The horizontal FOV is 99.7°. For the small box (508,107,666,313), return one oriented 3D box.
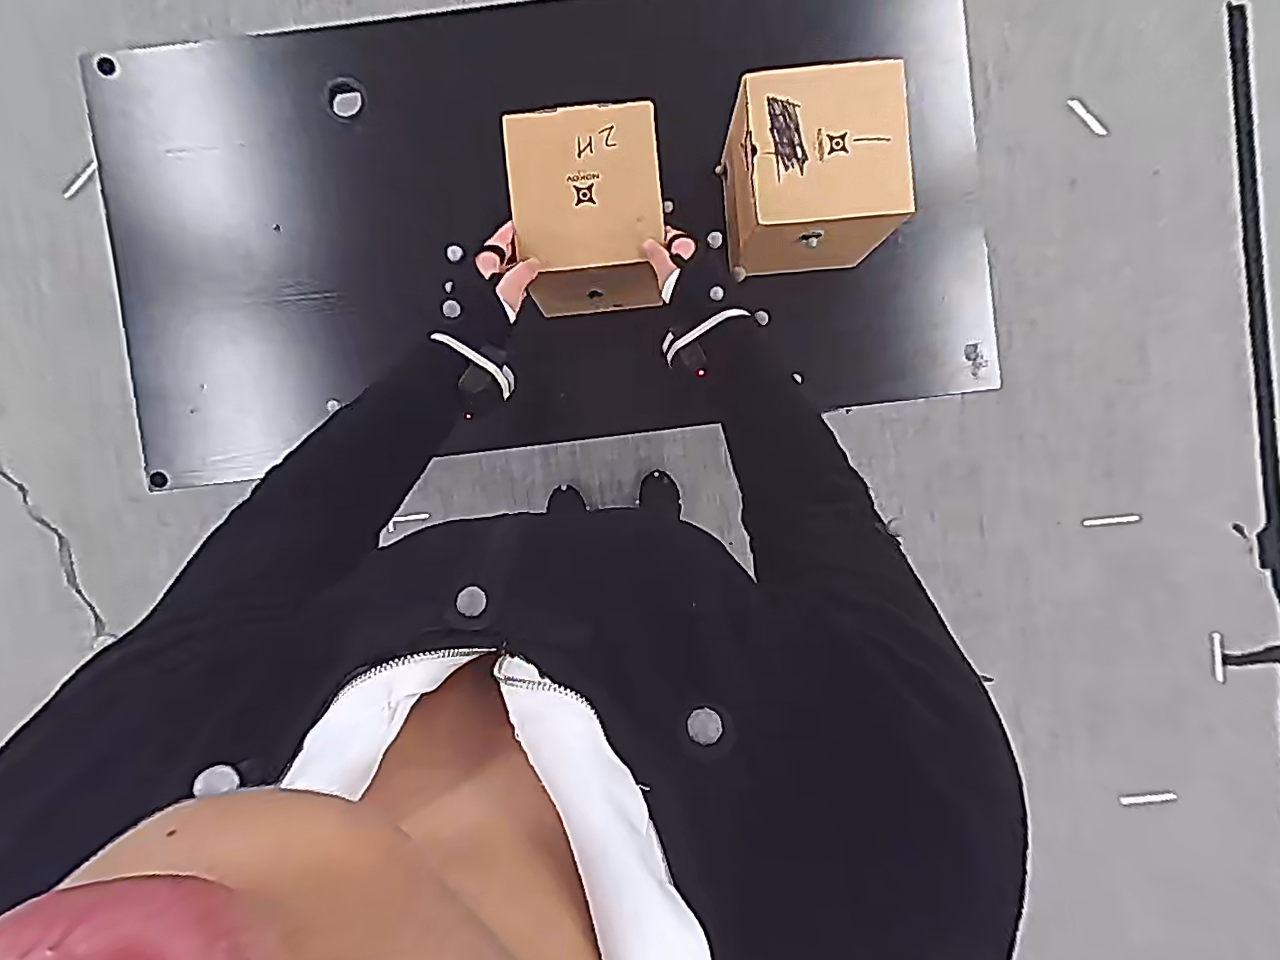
[{"bbox_3d":[-0.057,-0.319,0.677,0.168,0.176,0.179,-6,90,0],"label":"small box"}]

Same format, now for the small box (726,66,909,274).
[{"bbox_3d":[0.206,-0.370,0.677,0.179,0.176,0.168,-5,92,0],"label":"small box"}]
